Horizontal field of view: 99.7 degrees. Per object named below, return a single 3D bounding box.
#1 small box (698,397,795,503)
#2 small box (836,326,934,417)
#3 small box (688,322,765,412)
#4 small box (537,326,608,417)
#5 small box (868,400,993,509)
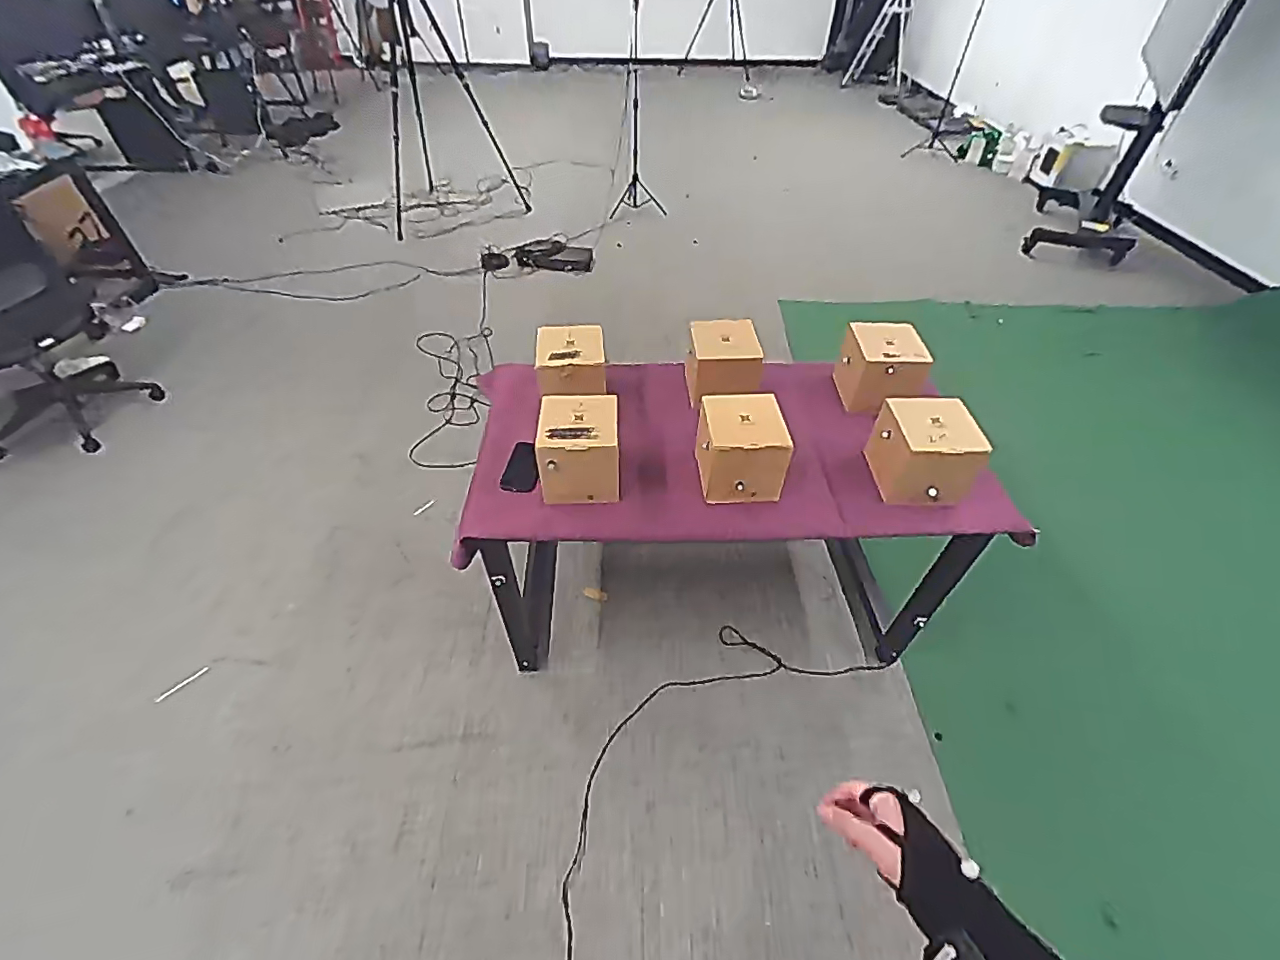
[{"bbox_3d":[0.226,-0.067,1.202,0.168,0.176,0.179,-2,46,-3],"label":"small box"},{"bbox_3d":[0.630,-0.283,1.418,0.168,0.176,0.179,1,46,1],"label":"small box"},{"bbox_3d":[0.219,-0.296,1.422,0.168,0.176,0.179,-1,47,-1],"label":"small box"},{"bbox_3d":[-0.168,-0.274,1.389,0.168,0.176,0.179,-3,46,-5],"label":"small box"},{"bbox_3d":[0.625,-0.057,1.195,0.168,0.176,0.179,1,46,1],"label":"small box"}]
